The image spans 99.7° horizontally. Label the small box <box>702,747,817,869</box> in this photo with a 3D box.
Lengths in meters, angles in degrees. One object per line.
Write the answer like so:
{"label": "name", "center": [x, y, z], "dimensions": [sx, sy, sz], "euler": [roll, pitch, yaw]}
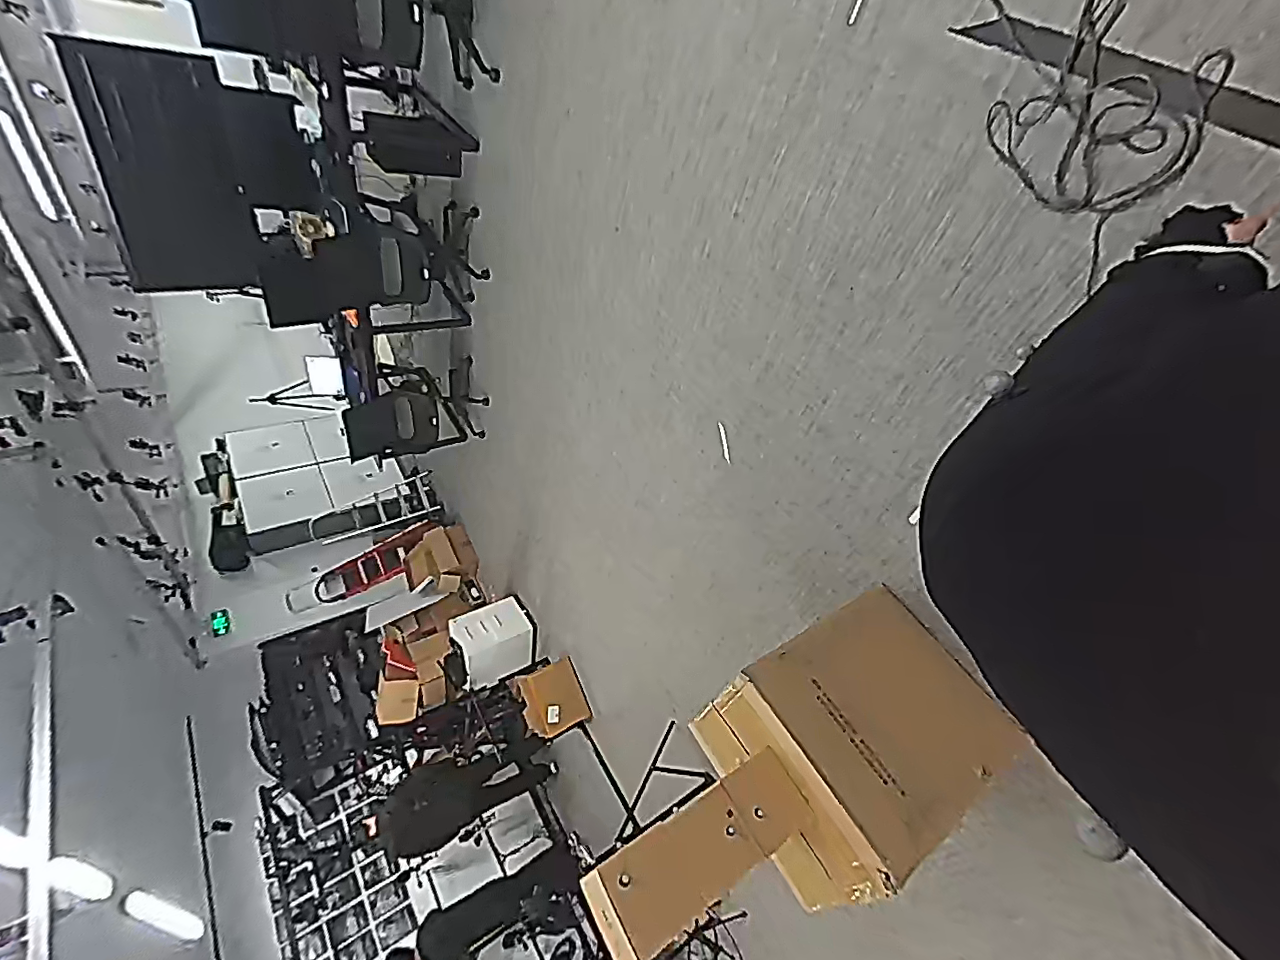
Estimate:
{"label": "small box", "center": [0.285, 0.777, 1.289], "dimensions": [0.179, 0.176, 0.168], "euler": [55, 143, 28]}

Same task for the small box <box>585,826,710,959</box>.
{"label": "small box", "center": [0.013, 0.852, 1.119], "dimensions": [0.179, 0.176, 0.168], "euler": [54, 143, 29]}
